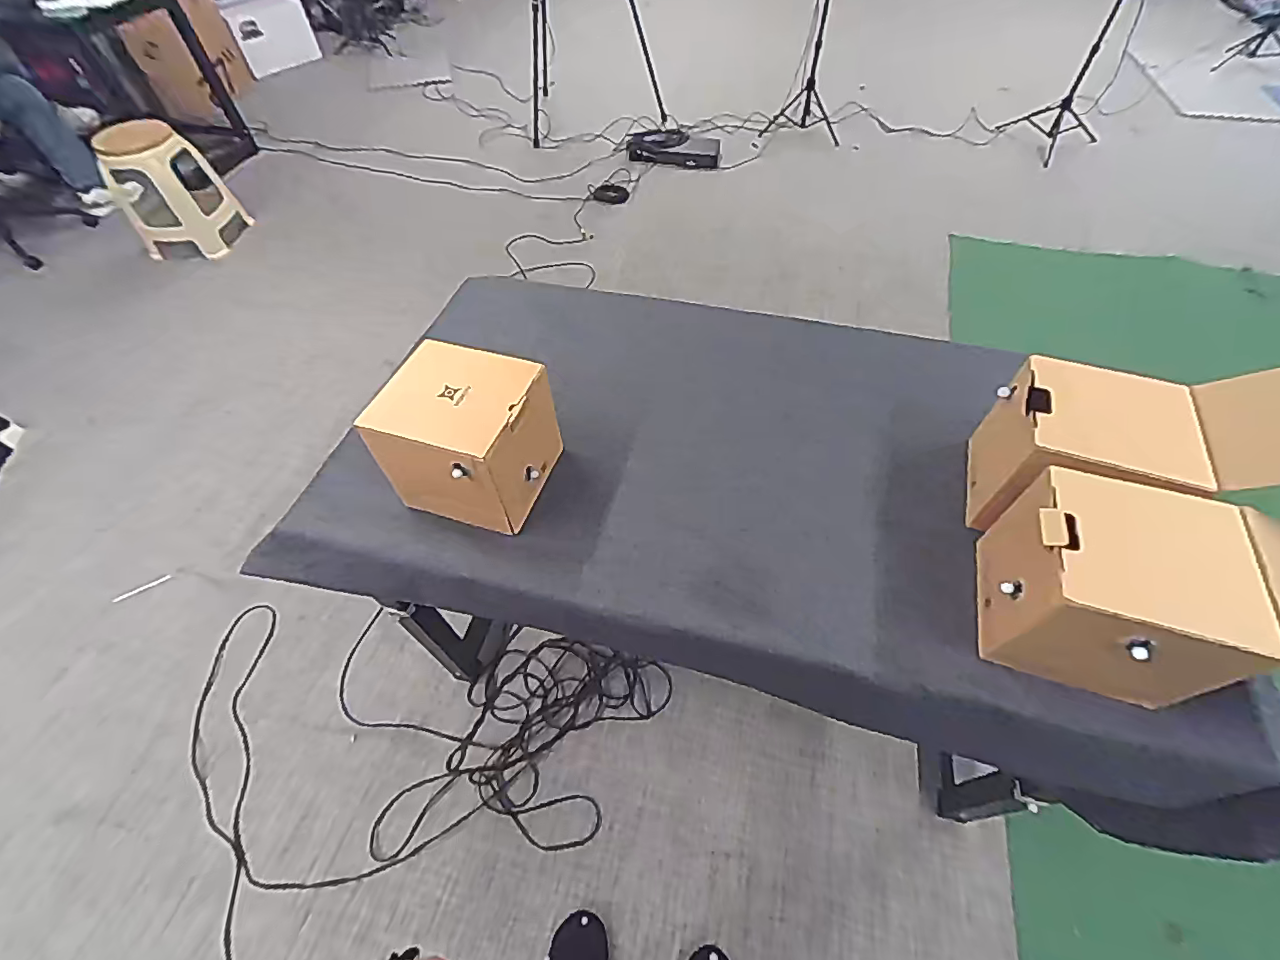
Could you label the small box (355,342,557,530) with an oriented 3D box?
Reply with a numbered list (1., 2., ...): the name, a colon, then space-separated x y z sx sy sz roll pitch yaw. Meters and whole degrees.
1. small box: -0.227 -0.055 0.721 0.179 0.176 0.168 14 54 11
